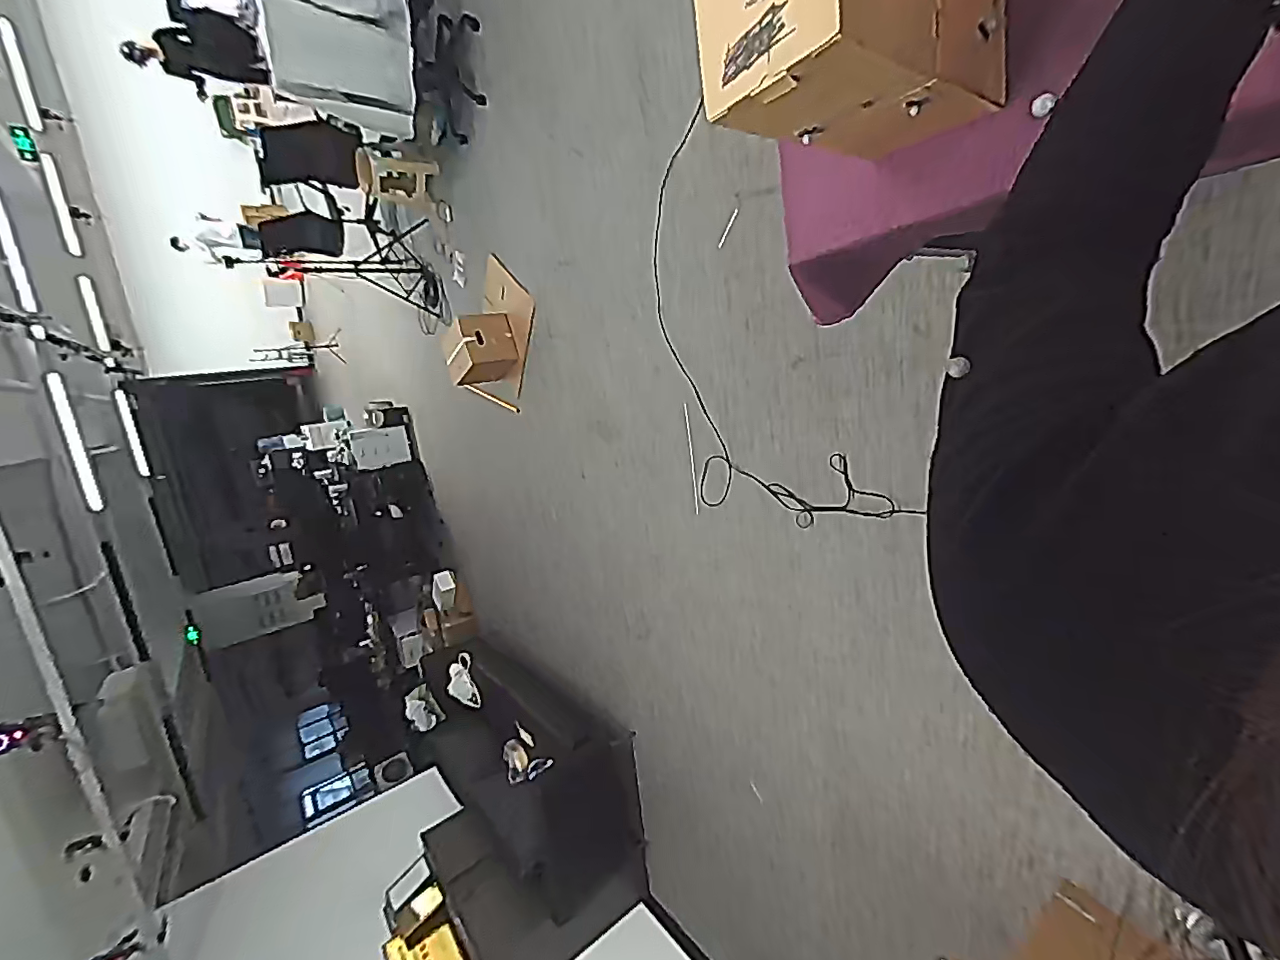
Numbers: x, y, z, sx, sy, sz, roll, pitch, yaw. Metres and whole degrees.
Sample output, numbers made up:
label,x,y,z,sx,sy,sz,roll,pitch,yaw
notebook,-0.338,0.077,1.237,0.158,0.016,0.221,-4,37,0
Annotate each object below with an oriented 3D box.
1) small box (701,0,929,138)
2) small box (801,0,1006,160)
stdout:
label,x,y,z,sx,sy,sz,roll,pitch,yaw
small box,0.184,-0.489,0.569,0.168,0.176,0.179,6,105,53
small box,0.316,-0.518,0.663,0.179,0.176,0.168,7,107,53
